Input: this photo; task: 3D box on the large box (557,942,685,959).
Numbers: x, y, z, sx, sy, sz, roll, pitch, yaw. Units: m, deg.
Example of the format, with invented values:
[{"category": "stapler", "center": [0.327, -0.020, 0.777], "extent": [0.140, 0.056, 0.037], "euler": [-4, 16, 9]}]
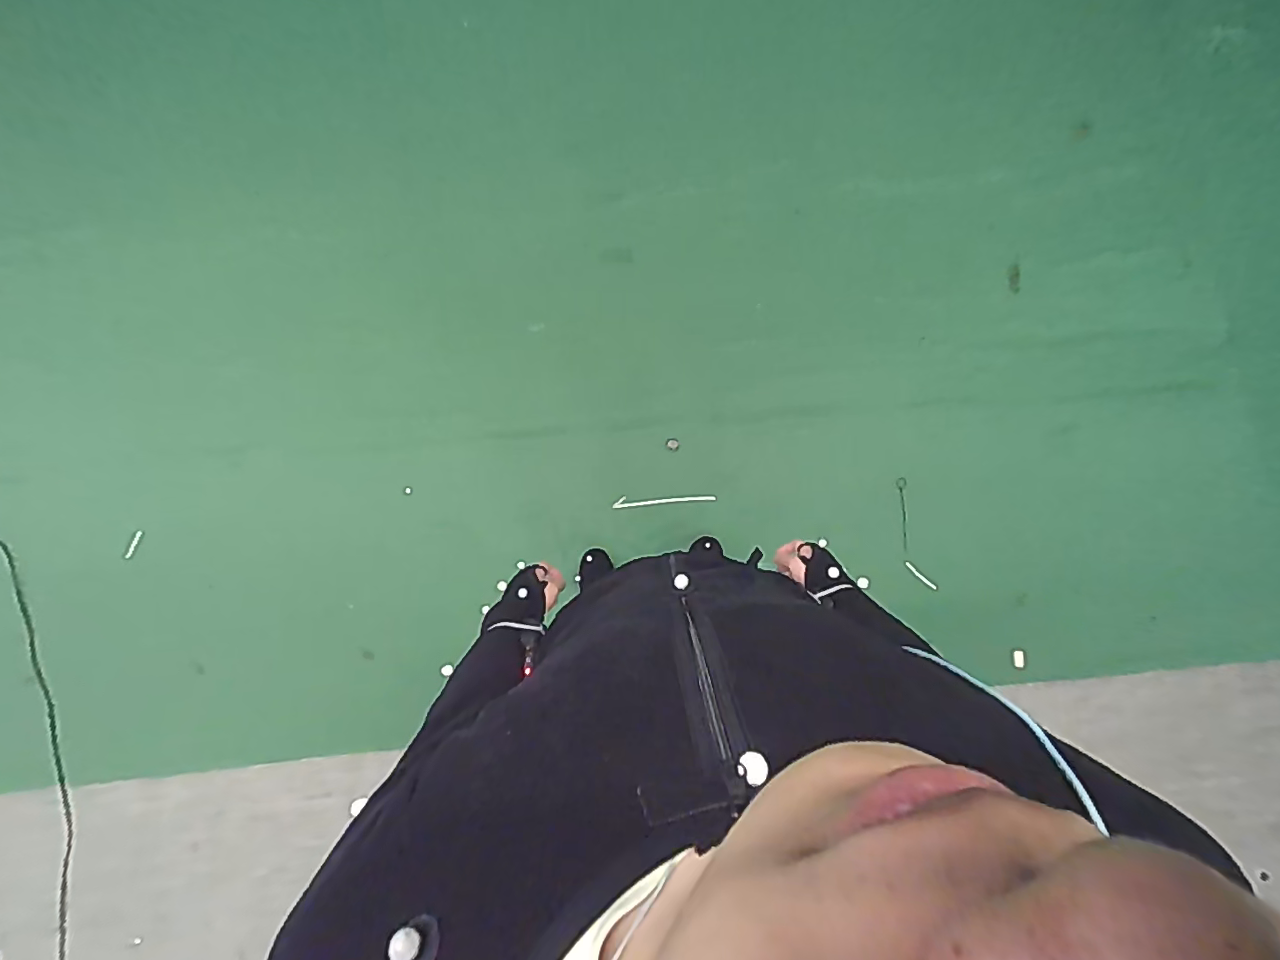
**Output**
[{"category": "large box", "center": [-0.058, 1.464, 1.367], "extent": [0.408, 0.320, 0.320], "euler": [-6, 84, -2]}]
